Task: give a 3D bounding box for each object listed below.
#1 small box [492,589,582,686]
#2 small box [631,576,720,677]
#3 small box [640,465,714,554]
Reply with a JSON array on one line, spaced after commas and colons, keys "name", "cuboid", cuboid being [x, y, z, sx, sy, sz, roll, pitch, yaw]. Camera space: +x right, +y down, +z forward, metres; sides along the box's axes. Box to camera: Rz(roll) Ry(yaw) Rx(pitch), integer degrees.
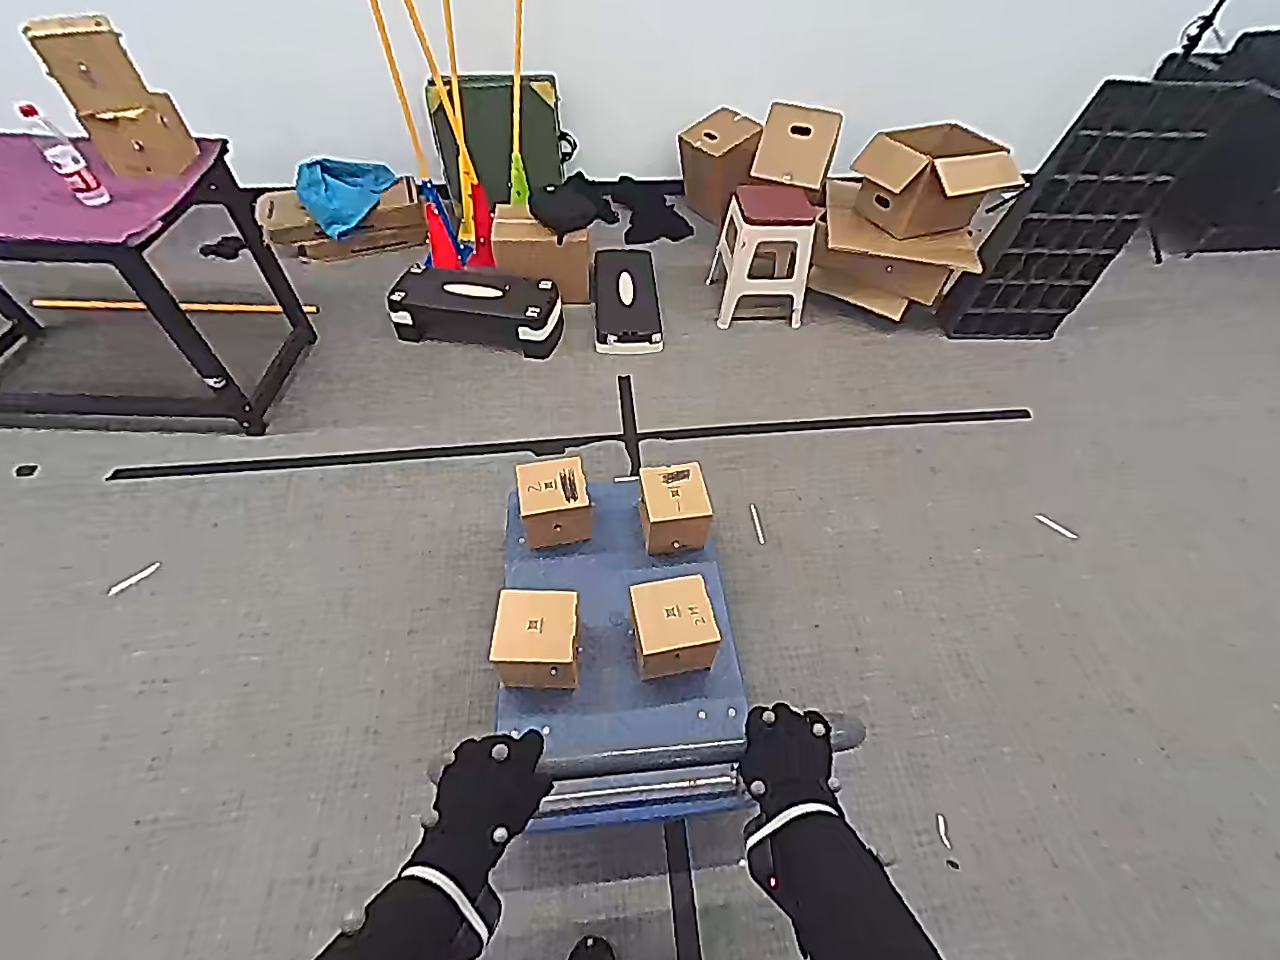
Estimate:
[{"name": "small box", "cuboid": [-0.228, 0.367, 1.248, 0.179, 0.176, 0.168, 3, 52, -3]}, {"name": "small box", "cuboid": [0.076, 0.350, 1.276, 0.179, 0.176, 0.168, -7, 53, -8]}, {"name": "small box", "cuboid": [0.093, 0.082, 1.483, 0.168, 0.176, 0.179, -6, 54, -7]}]
